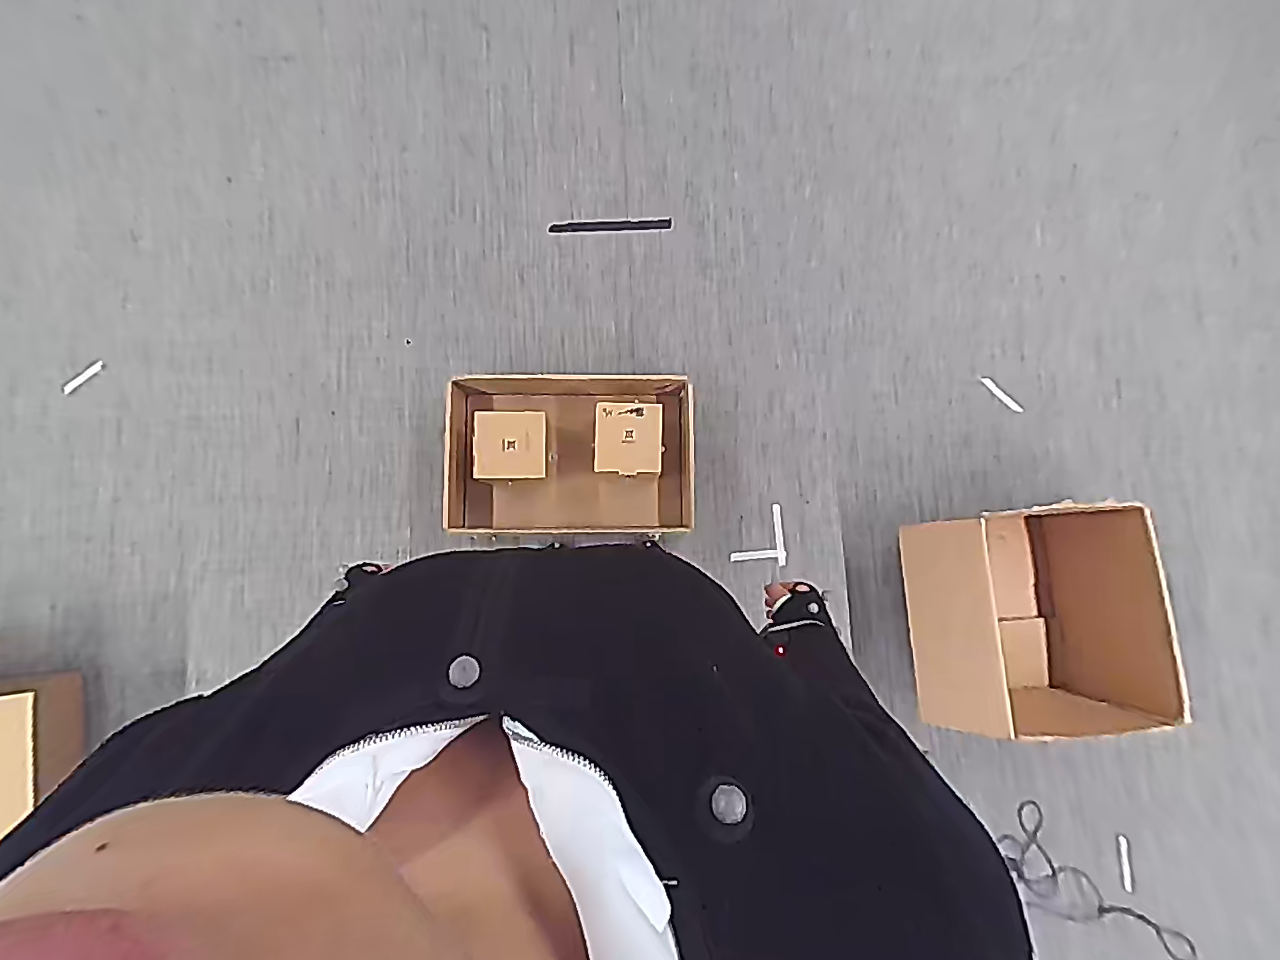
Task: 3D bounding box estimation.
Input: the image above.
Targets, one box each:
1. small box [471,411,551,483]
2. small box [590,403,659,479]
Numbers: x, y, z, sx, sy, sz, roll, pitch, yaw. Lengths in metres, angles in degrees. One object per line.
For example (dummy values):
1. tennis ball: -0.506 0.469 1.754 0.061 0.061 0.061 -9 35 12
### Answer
1. small box: -0.327 -0.080 1.391 0.179 0.176 0.168 -1 86 -5
2. small box: -0.038 -0.096 1.406 0.168 0.176 0.179 2 86 -2
